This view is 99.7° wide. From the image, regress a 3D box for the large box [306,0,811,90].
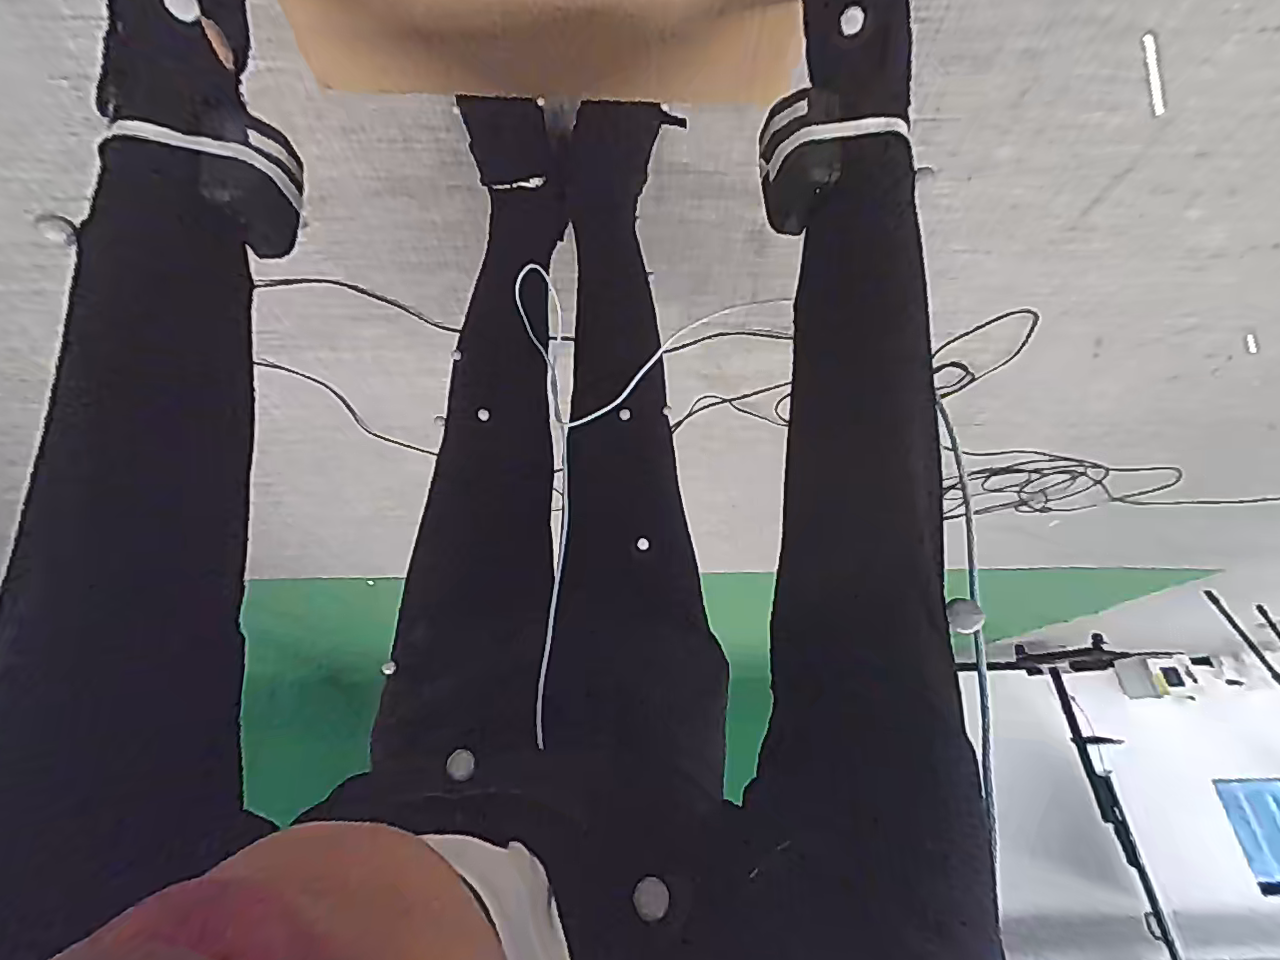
[{"bbox_3d":[-0.064,-0.549,0.413,0.408,0.320,0.320,0,153,-2],"label":"large box"}]
